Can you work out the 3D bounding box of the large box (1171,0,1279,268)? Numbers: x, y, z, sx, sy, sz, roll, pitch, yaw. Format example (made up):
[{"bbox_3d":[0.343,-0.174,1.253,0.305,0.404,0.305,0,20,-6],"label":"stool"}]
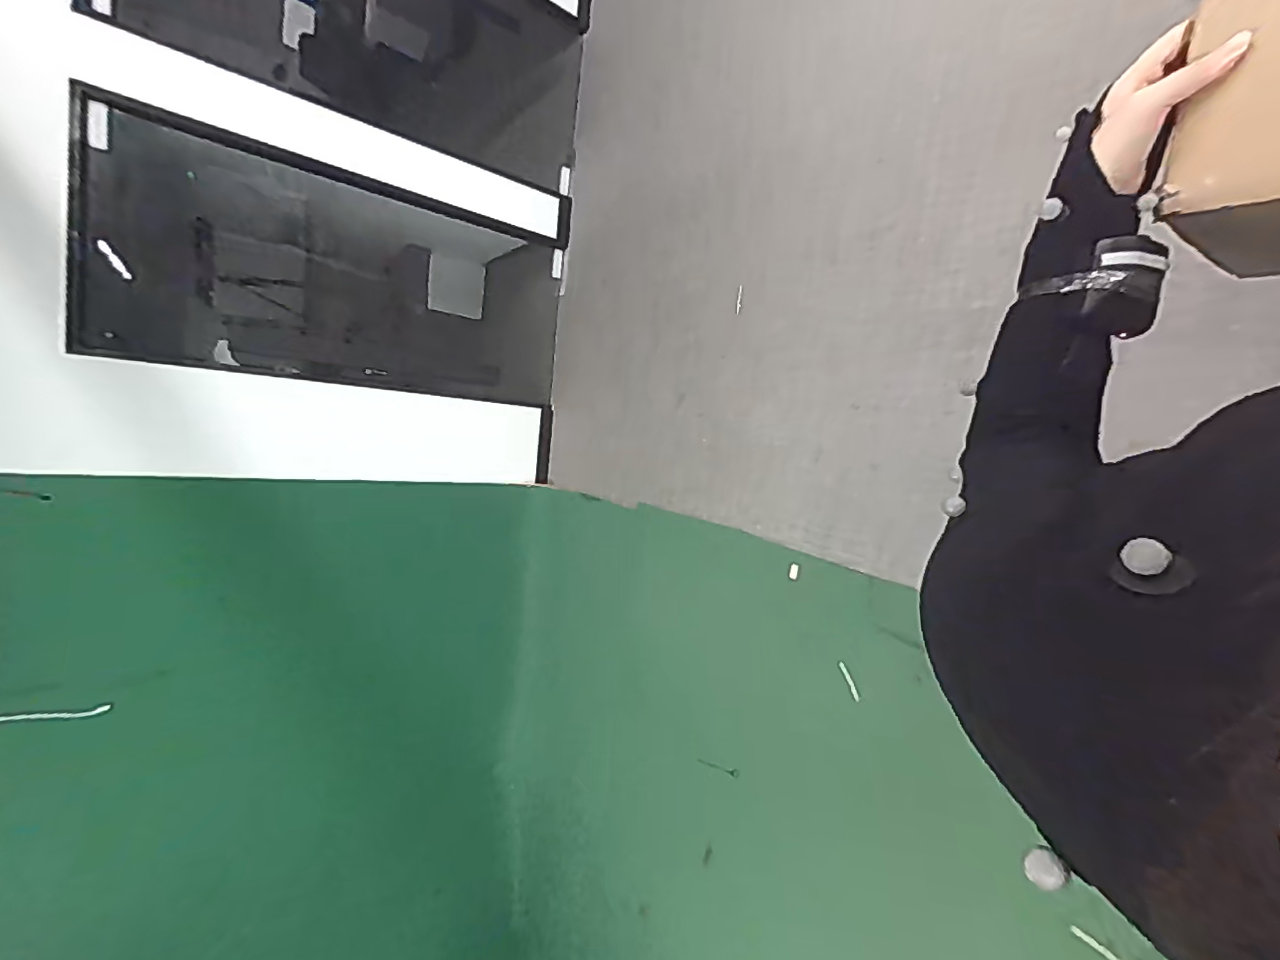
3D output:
[{"bbox_3d":[0.648,-0.332,0.312,0.408,0.320,0.320,16,106,55],"label":"large box"}]
